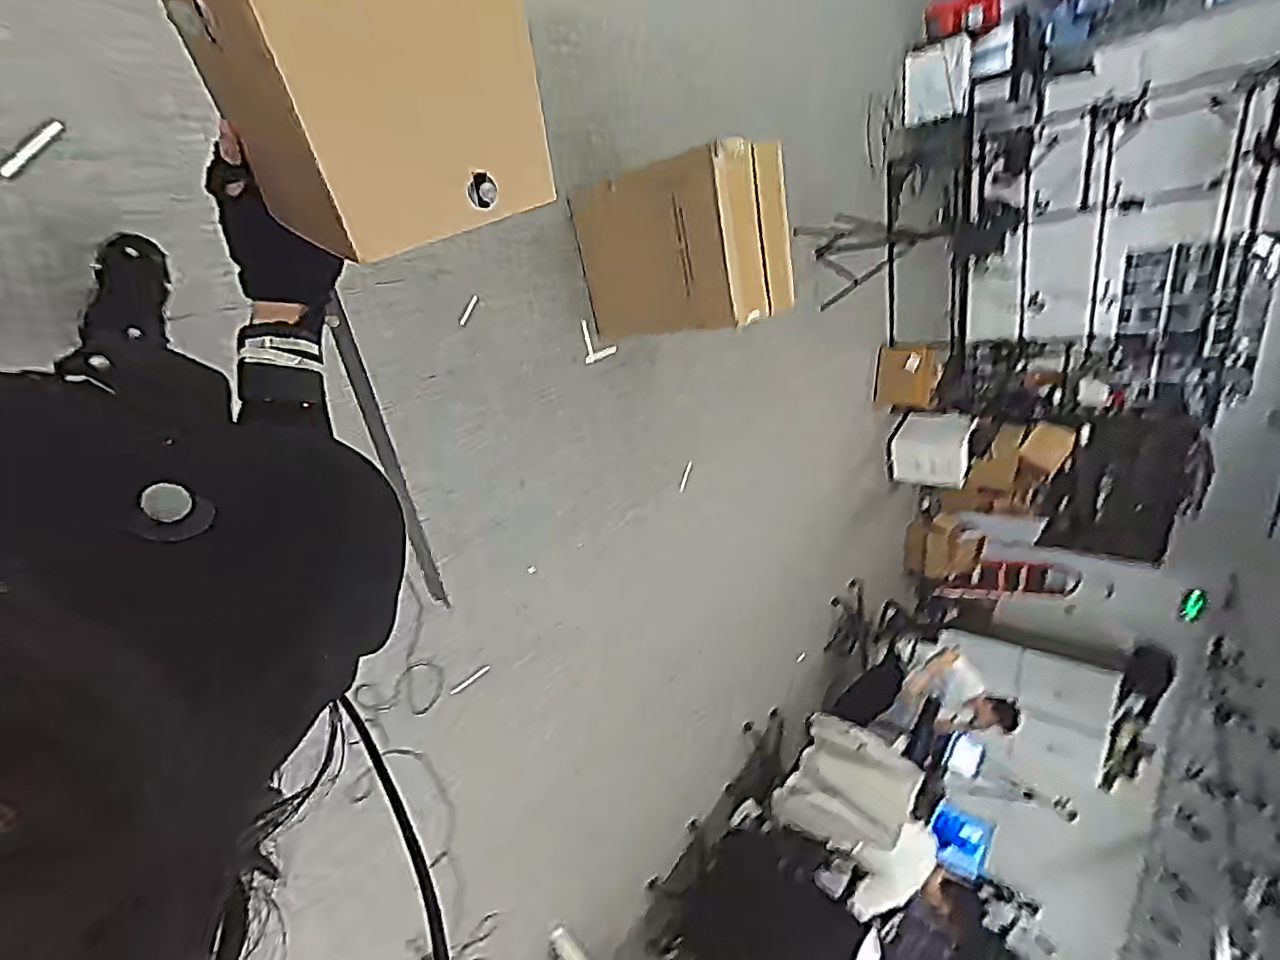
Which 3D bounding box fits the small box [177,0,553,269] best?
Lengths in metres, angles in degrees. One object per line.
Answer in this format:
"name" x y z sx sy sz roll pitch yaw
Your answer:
"small box" -0.185 -0.275 0.379 0.168 0.179 0.176 -35 141 -29
